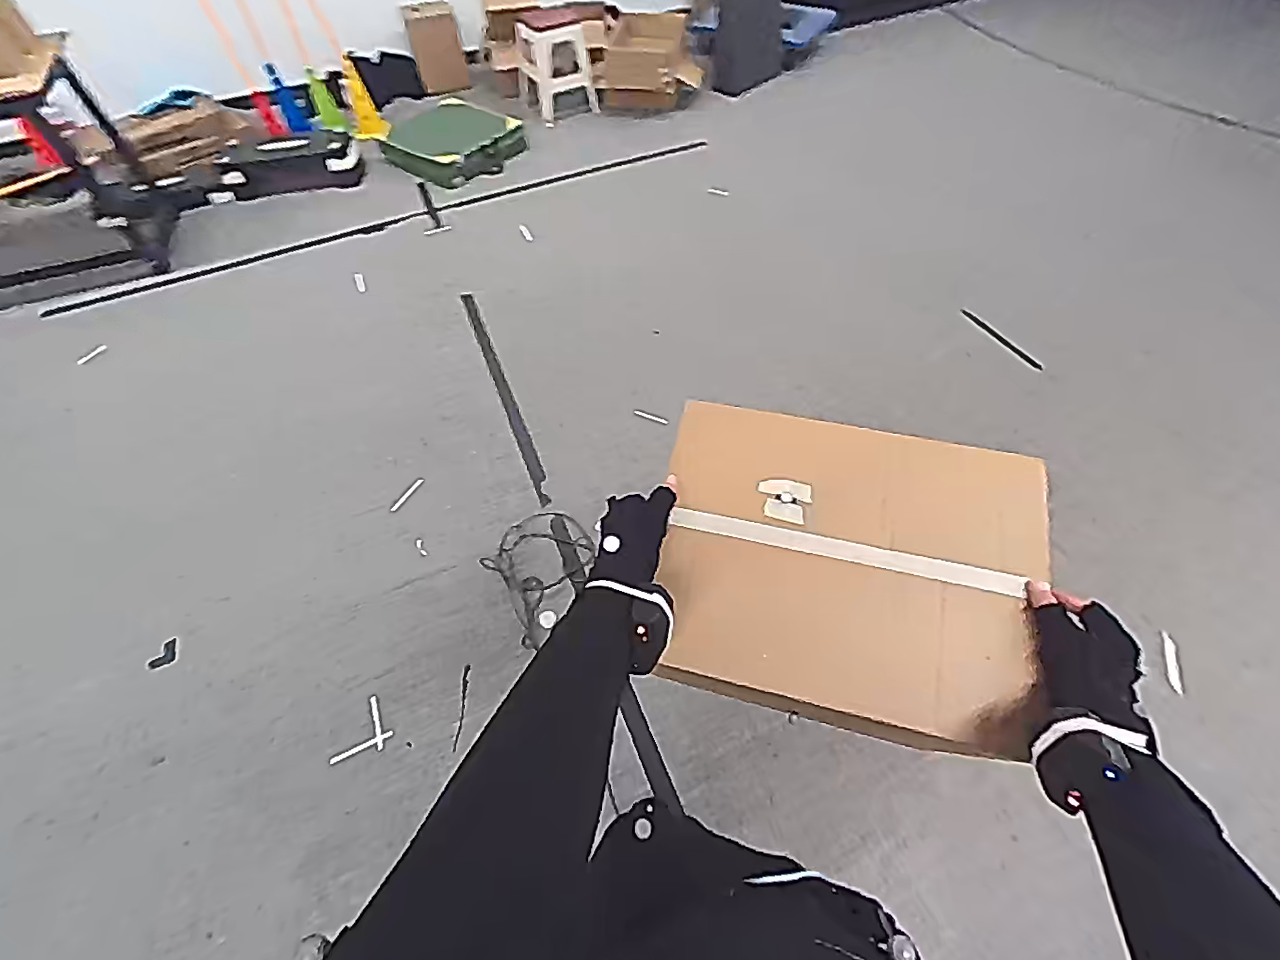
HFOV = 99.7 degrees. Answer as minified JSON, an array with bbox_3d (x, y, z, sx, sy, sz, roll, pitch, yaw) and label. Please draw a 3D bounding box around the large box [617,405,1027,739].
[{"bbox_3d":[0.220,0.131,0.726,0.408,0.320,0.320,10,67,12],"label":"large box"}]
